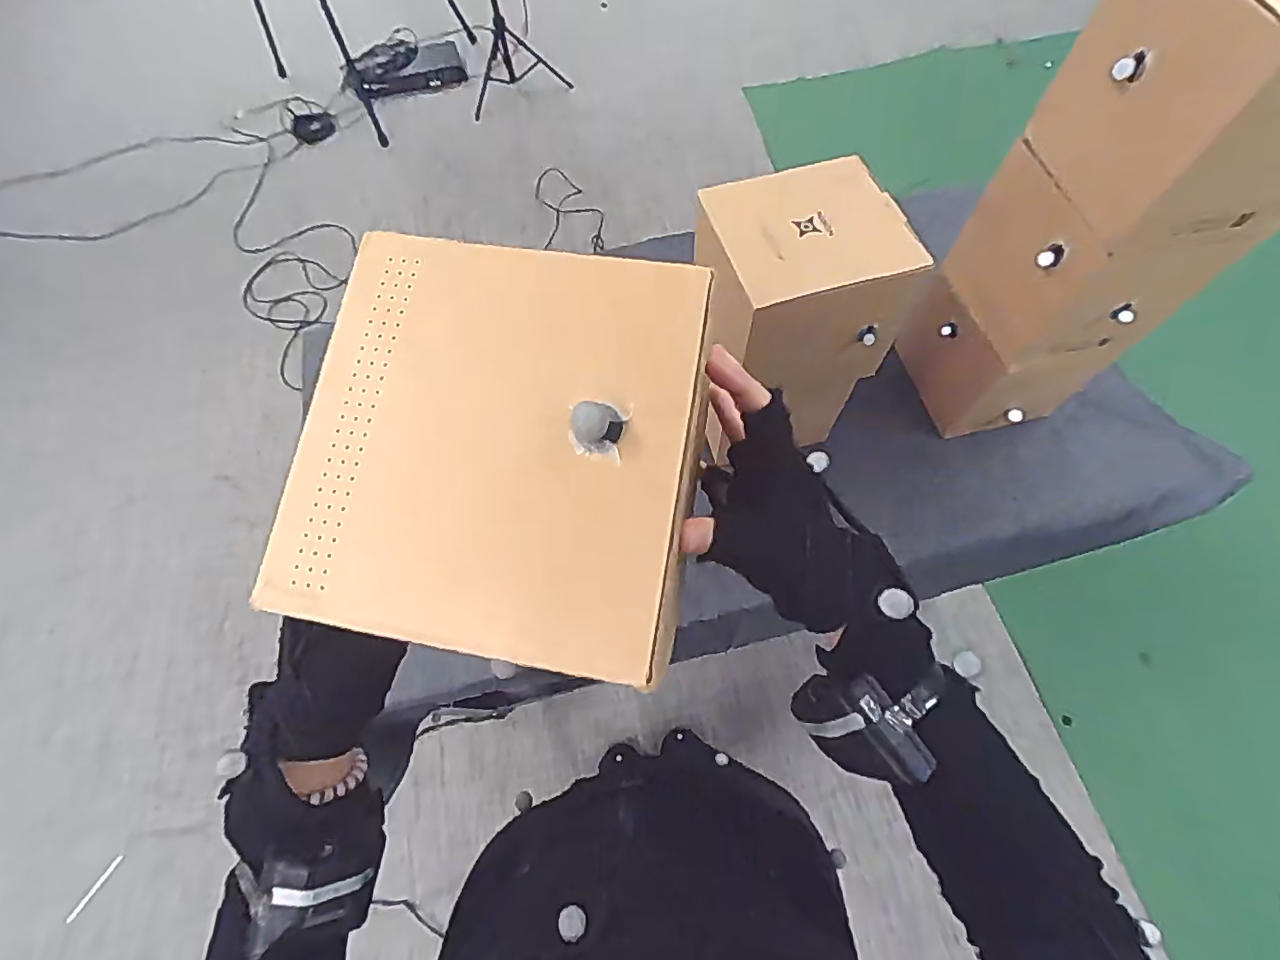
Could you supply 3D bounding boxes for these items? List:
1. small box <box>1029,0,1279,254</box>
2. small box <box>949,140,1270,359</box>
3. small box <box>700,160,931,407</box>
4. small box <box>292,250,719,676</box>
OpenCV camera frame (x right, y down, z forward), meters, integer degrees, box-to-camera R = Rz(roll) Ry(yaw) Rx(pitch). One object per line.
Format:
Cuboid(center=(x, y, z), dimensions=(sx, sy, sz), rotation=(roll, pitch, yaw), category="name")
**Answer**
Cuboid(center=(0.476, -0.320, 0.446), dimensions=(0.168, 0.176, 0.179), rotation=(-9, 64, -1), category="small box")
Cuboid(center=(0.485, -0.252, 0.596), dimensions=(0.168, 0.176, 0.179), rotation=(-11, 65, -2), category="small box")
Cuboid(center=(0.167, -0.205, 0.592), dimensions=(0.179, 0.176, 0.168), rotation=(-15, 64, -4), category="small box")
Cuboid(center=(-0.052, -0.003, 0.307), dimensions=(0.176, 0.168, 0.179), rotation=(8, 78, 7), category="small box")
